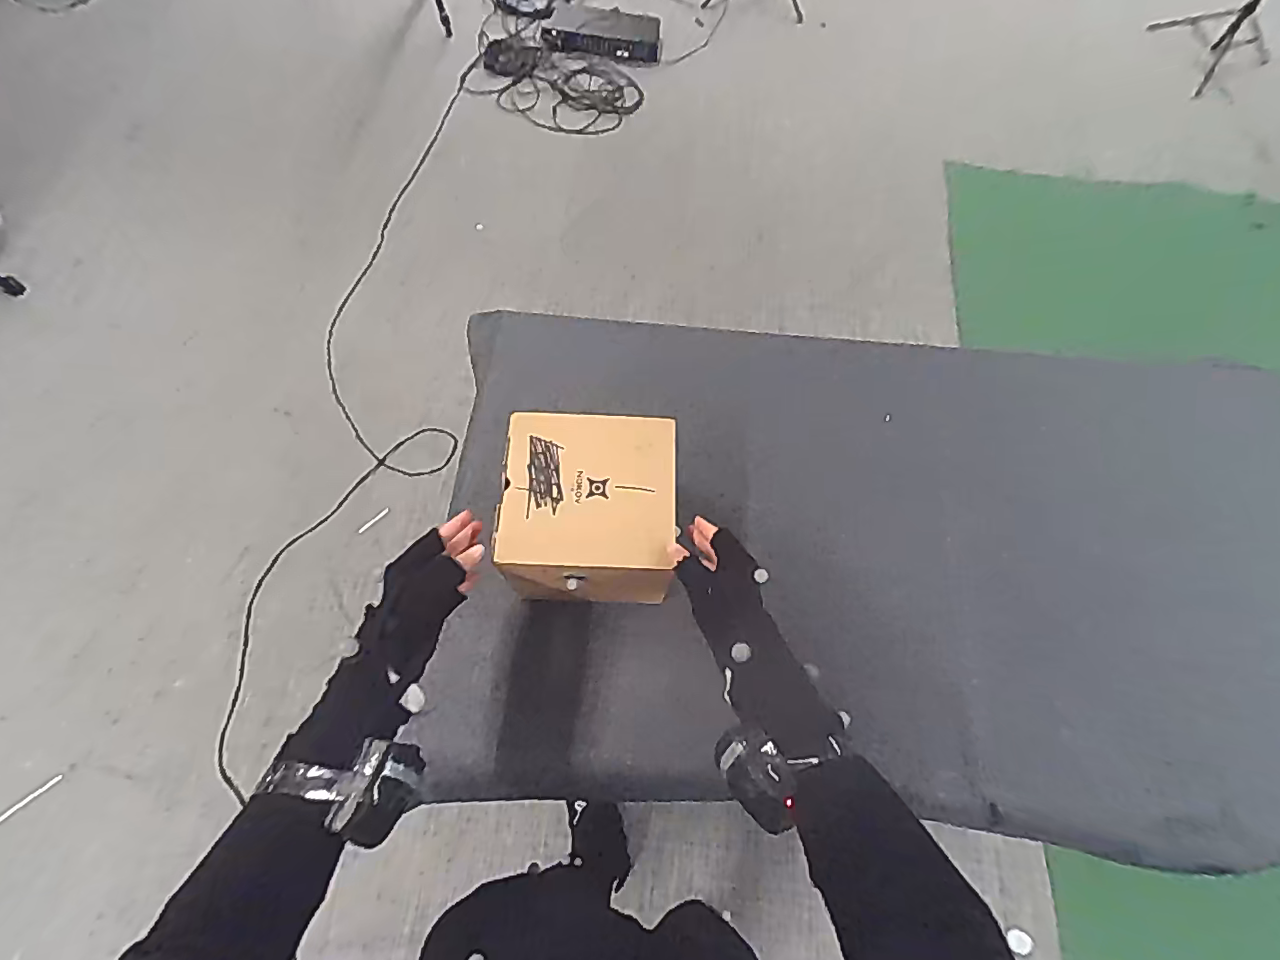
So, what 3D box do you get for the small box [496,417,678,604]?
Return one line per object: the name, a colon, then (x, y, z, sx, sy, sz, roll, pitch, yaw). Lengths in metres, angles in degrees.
small box: (-0.052, 0.043, 0.620, 0.179, 0.176, 0.168, 3, 66, -2)
